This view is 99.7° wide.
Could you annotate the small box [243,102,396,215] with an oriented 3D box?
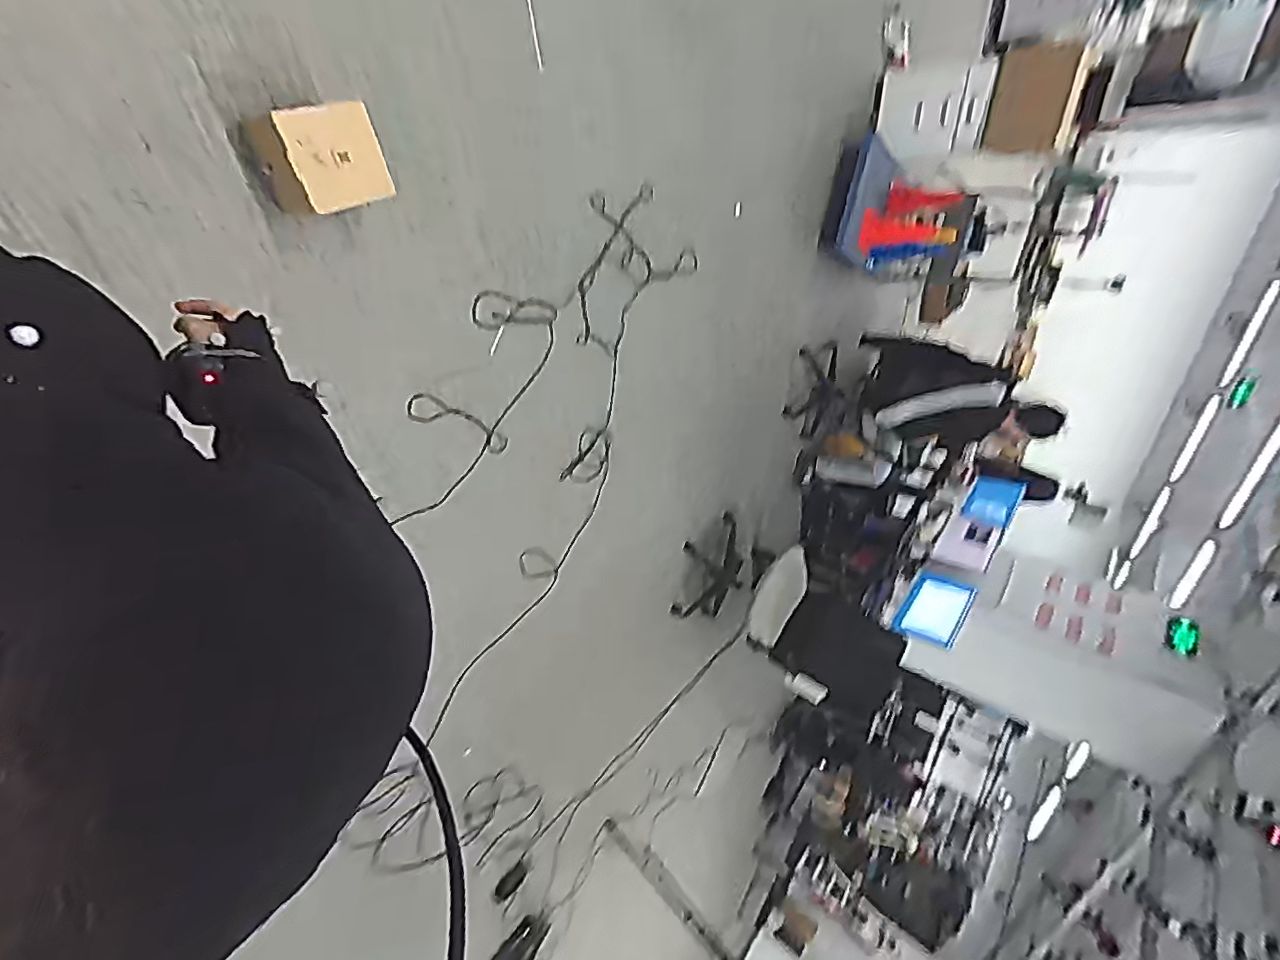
[{"bbox_3d":[-0.629,-0.634,1.067,0.179,0.176,0.168,-39,135,-34],"label":"small box"}]
